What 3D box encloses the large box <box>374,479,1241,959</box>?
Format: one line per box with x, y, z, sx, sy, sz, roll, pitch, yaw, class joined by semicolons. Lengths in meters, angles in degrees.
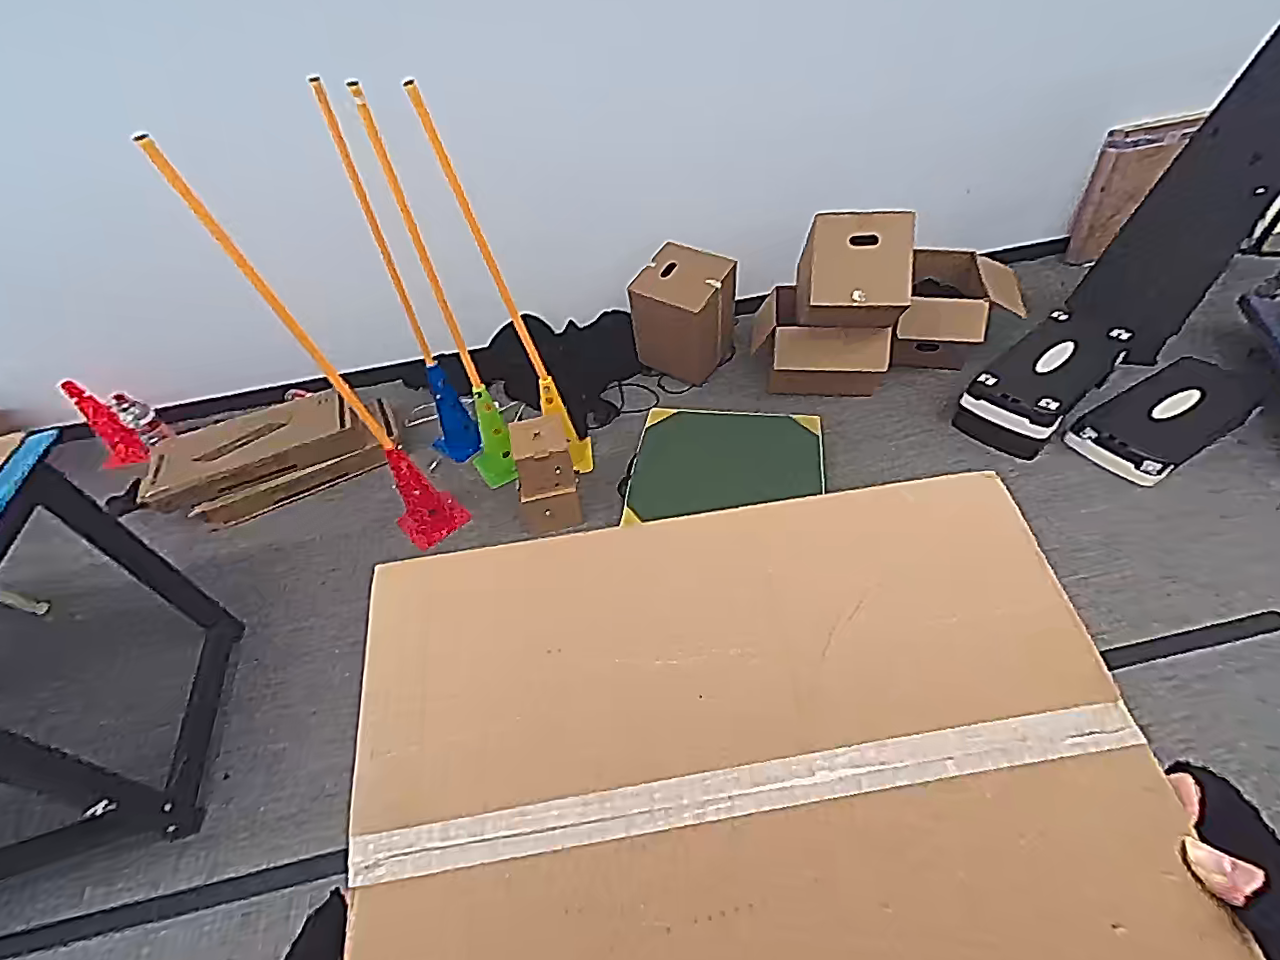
0.067;0.234;0.417;0.408;0.320;0.320;-9;62;-2;large box
